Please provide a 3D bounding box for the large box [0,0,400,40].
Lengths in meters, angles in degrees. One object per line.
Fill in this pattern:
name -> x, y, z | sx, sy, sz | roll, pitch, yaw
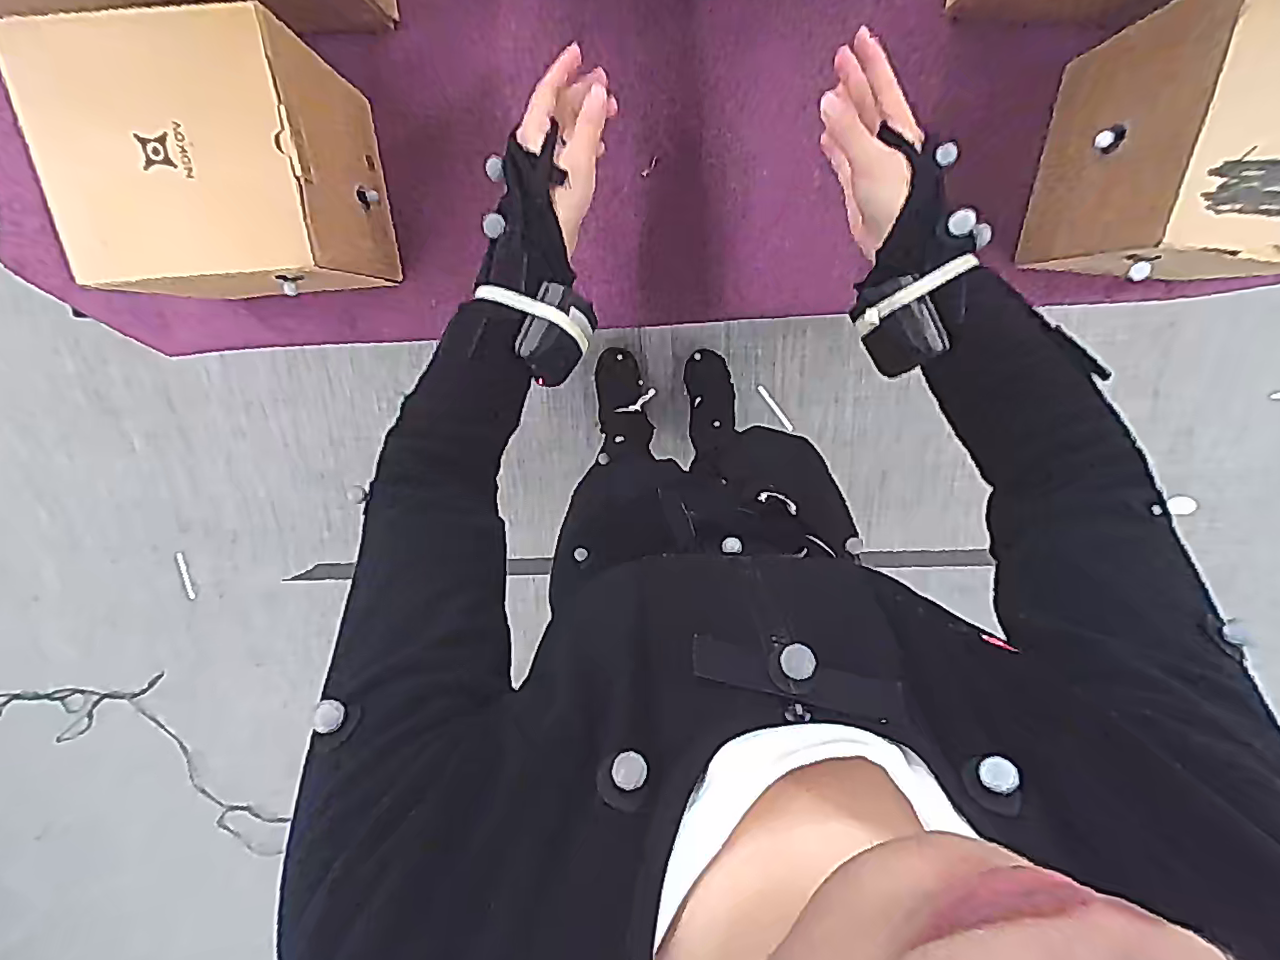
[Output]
large box -> -0.375, -0.549, 0.294 | 0.320, 0.320, 0.408 | -3, 110, 0
